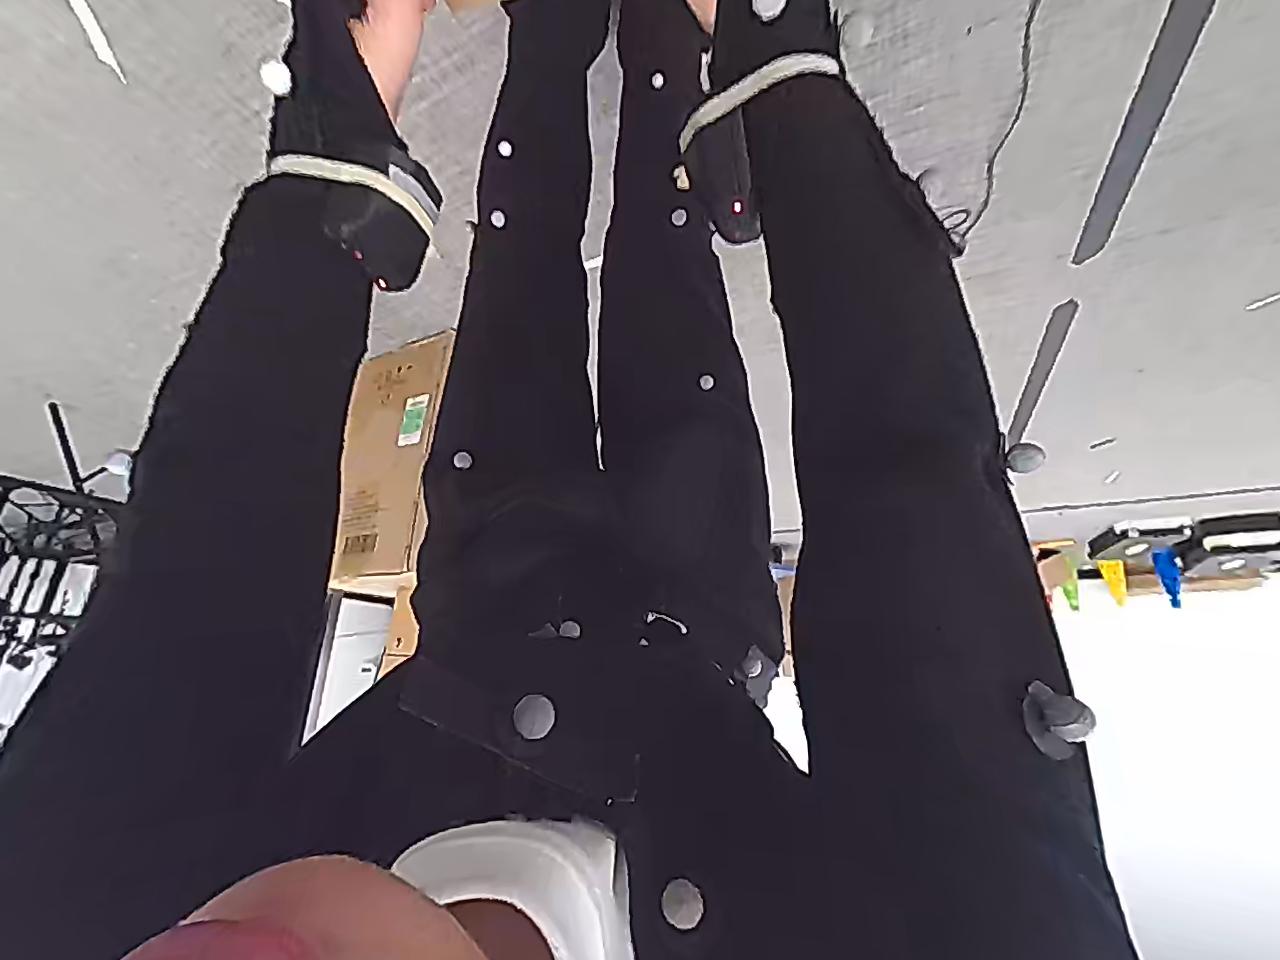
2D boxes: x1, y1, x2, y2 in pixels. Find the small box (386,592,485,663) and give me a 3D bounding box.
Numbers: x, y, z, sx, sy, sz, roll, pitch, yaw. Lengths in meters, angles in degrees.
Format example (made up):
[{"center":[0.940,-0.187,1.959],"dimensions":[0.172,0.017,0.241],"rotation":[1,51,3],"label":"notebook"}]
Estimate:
[{"center":[-0.517,0.381,1.390],"dimensions":[0.179,0.176,0.168],"rotation":[-7,159,25],"label":"small box"}]
